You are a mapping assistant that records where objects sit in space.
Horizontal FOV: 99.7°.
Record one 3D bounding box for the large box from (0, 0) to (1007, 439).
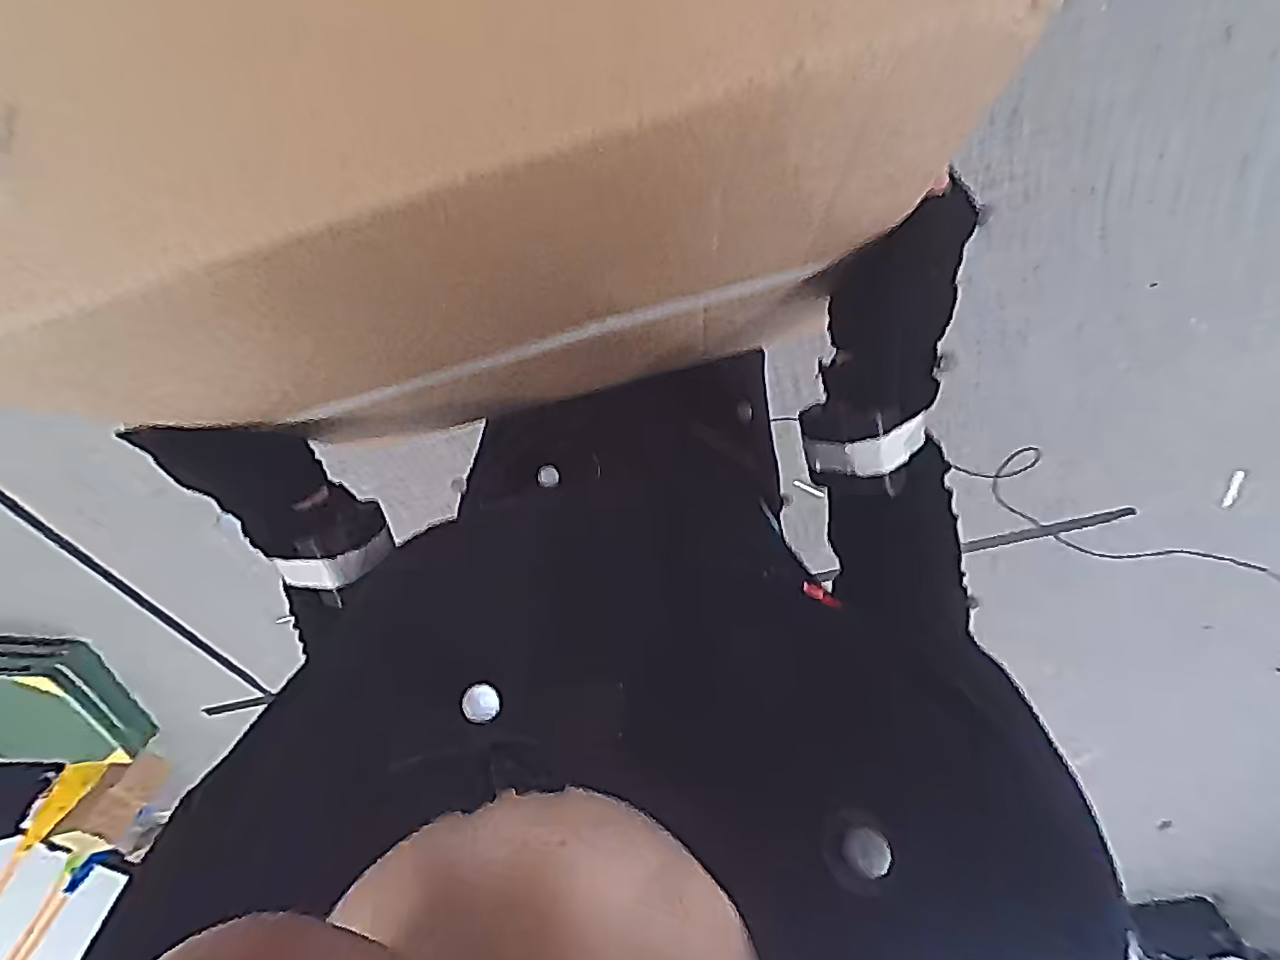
[{"bbox_3d":[-0.097,-0.237,0.335,0.408,0.320,0.320,-14,87,6],"label":"large box"}]
